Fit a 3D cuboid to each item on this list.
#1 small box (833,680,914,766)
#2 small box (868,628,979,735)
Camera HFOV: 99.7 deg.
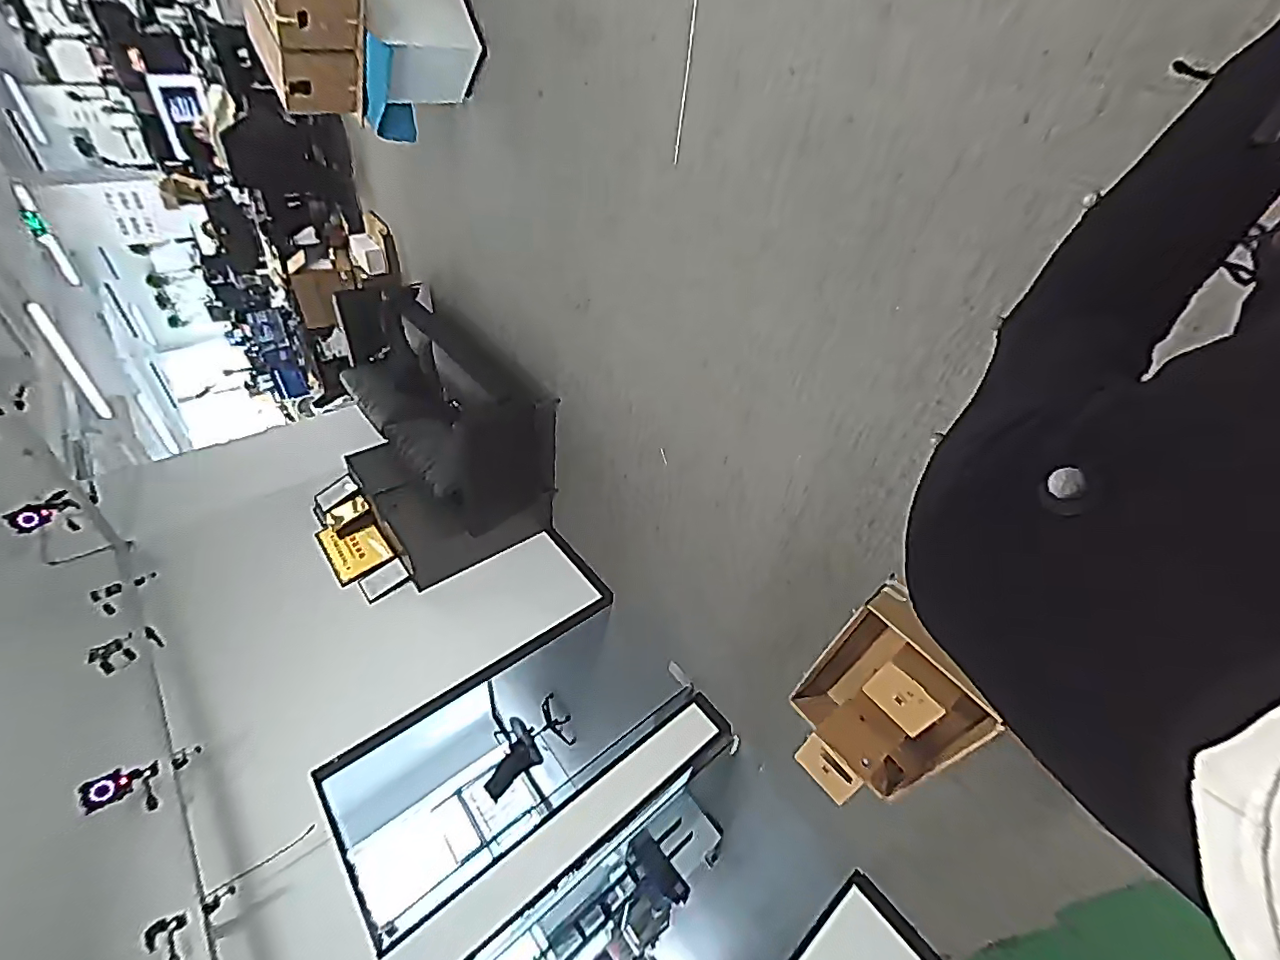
[{"bbox_3d":[0.721,0.707,1.616,0.168,0.176,0.179,44,141,31],"label":"small box"},{"bbox_3d":[0.753,0.531,1.435,0.168,0.176,0.179,45,144,29],"label":"small box"}]
